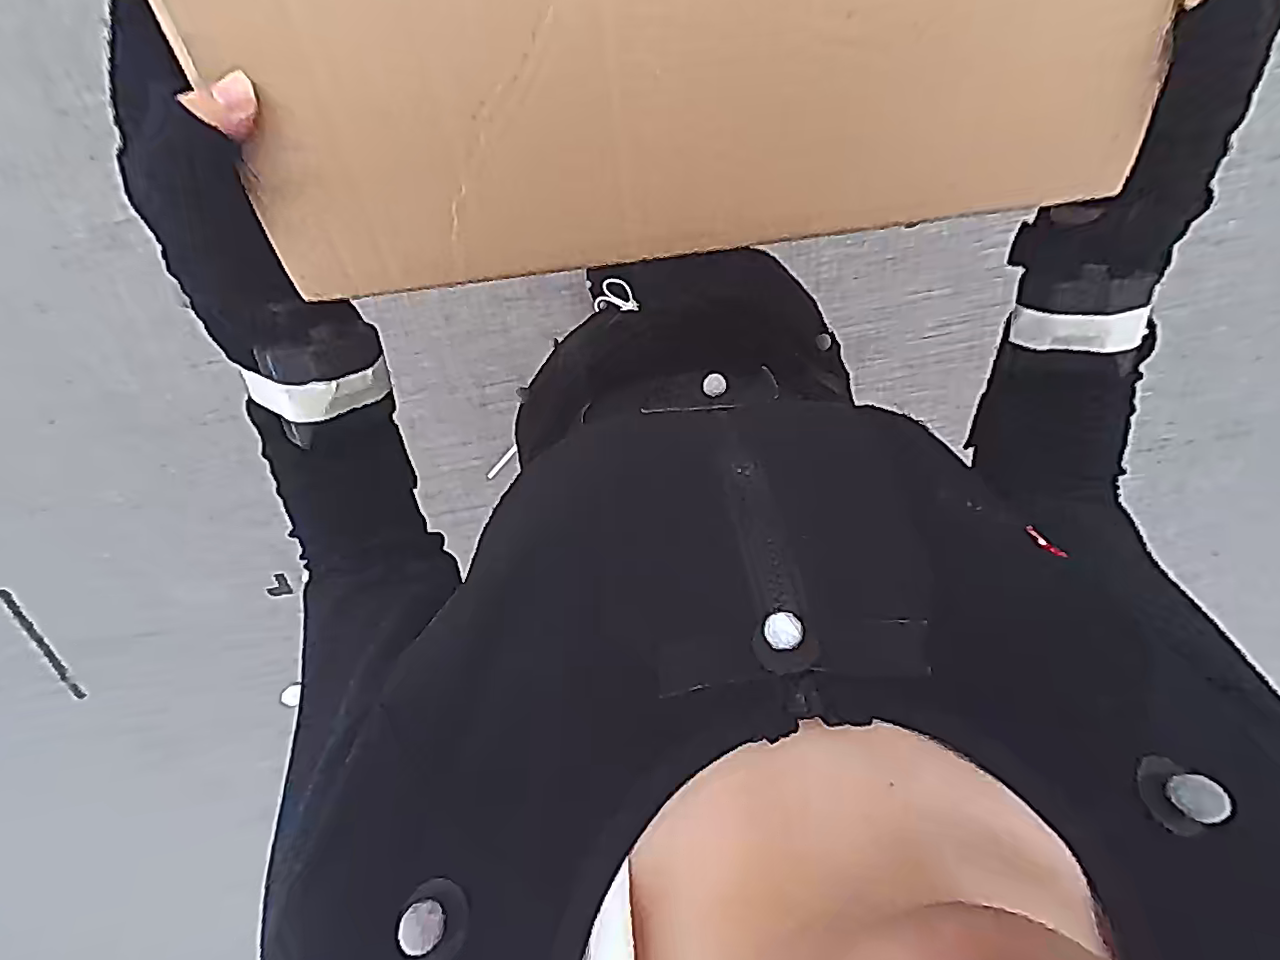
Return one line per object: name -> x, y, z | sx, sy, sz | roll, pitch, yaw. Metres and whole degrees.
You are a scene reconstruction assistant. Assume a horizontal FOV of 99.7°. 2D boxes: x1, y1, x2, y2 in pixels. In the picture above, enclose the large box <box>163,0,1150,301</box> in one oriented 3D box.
large box -> 0.002, -0.330, 0.300 | 0.408, 0.320, 0.320 | -7, 127, 1
